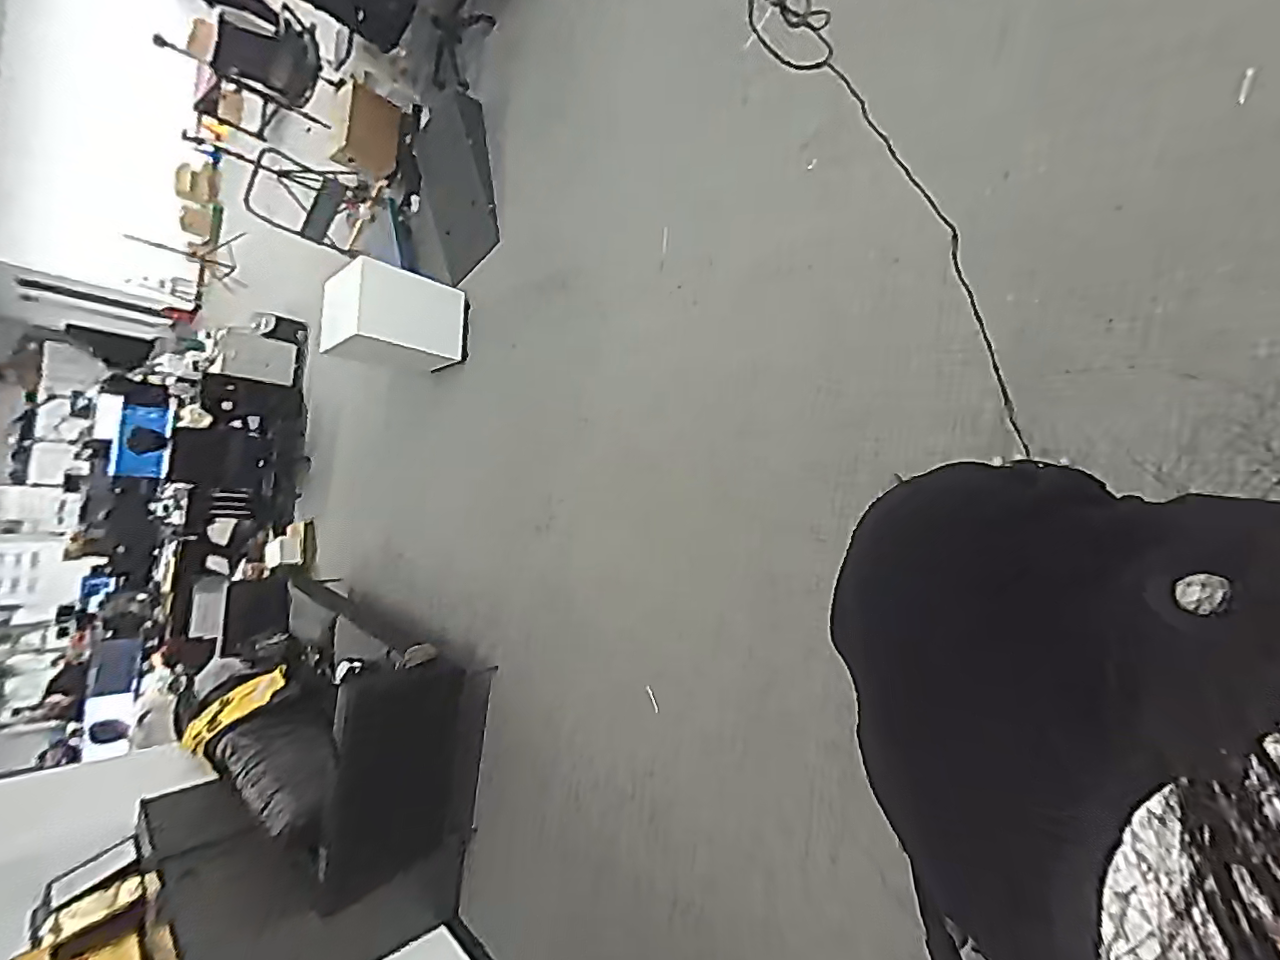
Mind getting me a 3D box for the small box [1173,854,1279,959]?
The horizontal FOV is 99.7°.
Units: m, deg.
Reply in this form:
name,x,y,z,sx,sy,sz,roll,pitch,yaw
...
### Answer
name,x,y,z,sx,sy,sz,roll,pitch,yaw
small box,1.066,0.816,0.951,0.168,0.176,0.179,8,91,42
